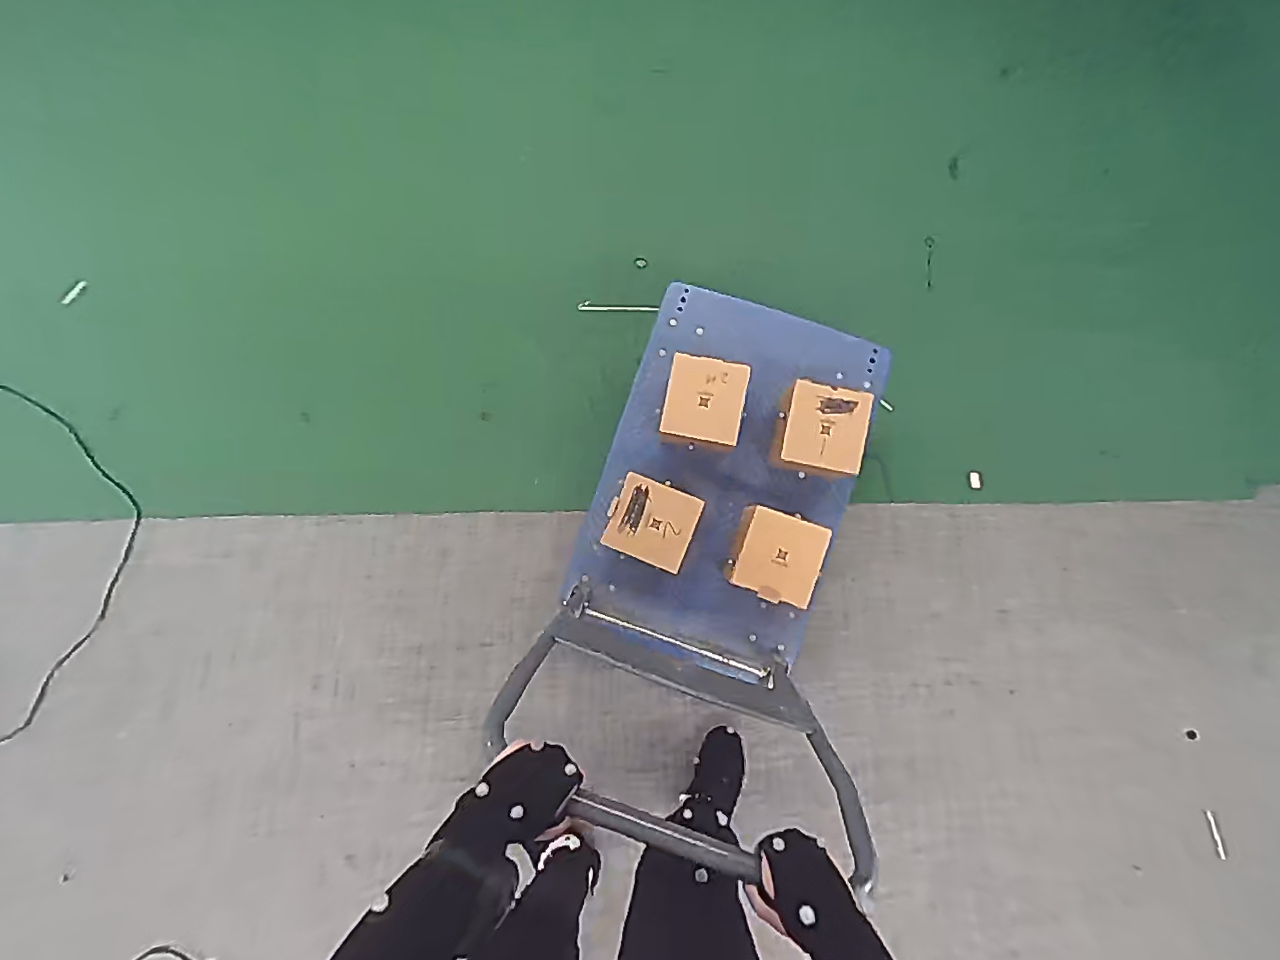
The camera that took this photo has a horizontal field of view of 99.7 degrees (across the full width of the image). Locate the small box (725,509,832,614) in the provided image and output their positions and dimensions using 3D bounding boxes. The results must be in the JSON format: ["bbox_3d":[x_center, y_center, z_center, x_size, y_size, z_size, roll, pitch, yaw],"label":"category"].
[{"bbox_3d":[0.296,0.174,1.201,0.168,0.176,0.179,20,87,3],"label":"small box"}]

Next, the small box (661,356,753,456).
[{"bbox_3d":[0.145,-0.158,1.225,0.168,0.176,0.179,12,87,2],"label":"small box"}]

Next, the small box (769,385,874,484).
[{"bbox_3d":[0.398,-0.095,1.214,0.168,0.176,0.179,13,87,3],"label":"small box"}]
